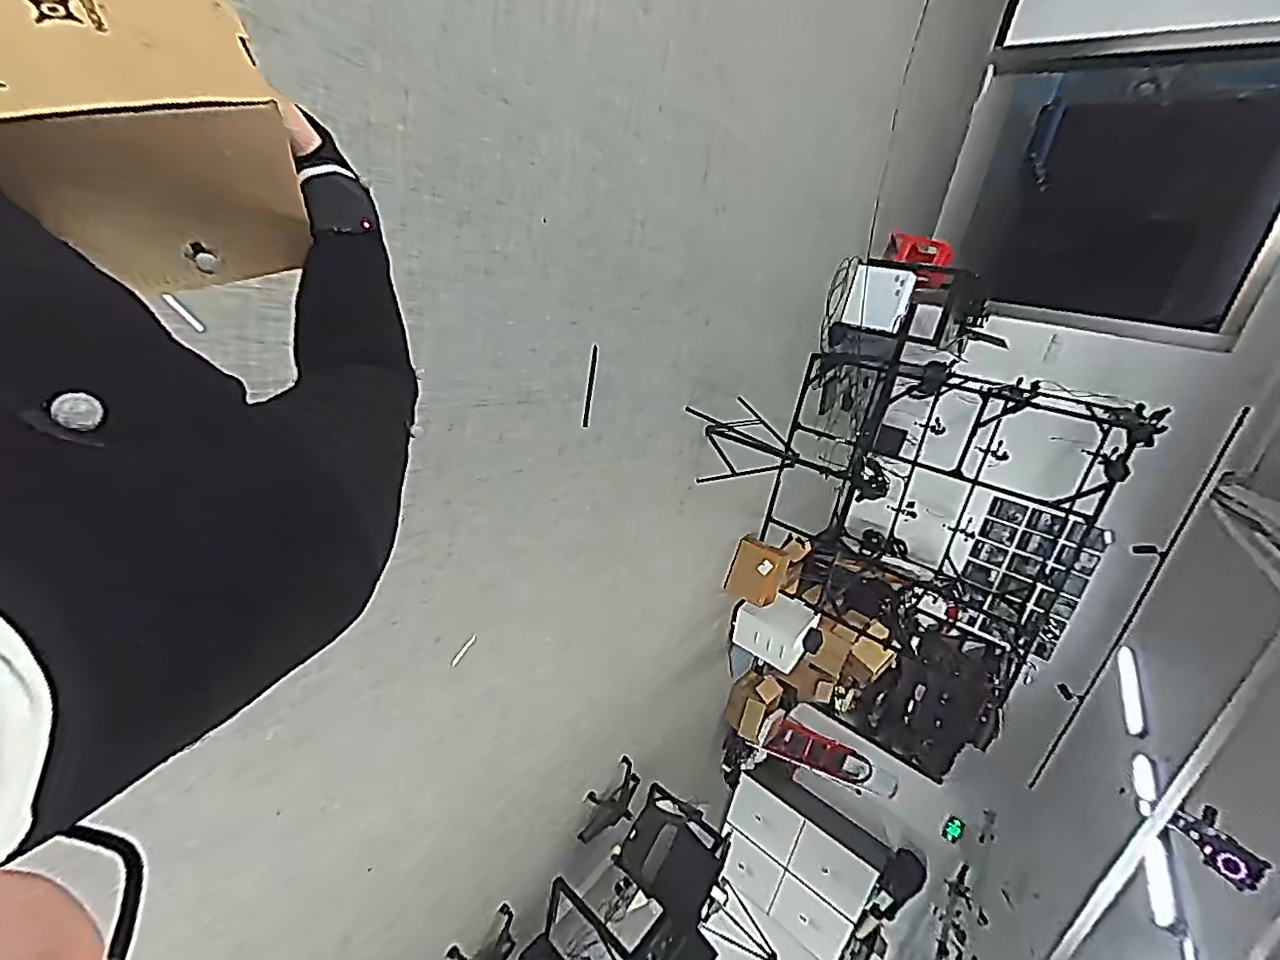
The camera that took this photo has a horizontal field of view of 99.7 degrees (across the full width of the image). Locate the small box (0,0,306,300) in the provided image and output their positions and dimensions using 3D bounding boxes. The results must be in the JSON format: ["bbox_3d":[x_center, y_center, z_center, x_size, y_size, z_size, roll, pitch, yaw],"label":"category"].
[{"bbox_3d":[-0.397,-0.276,0.435,0.179,0.168,0.176,-27,171,-28],"label":"small box"}]
